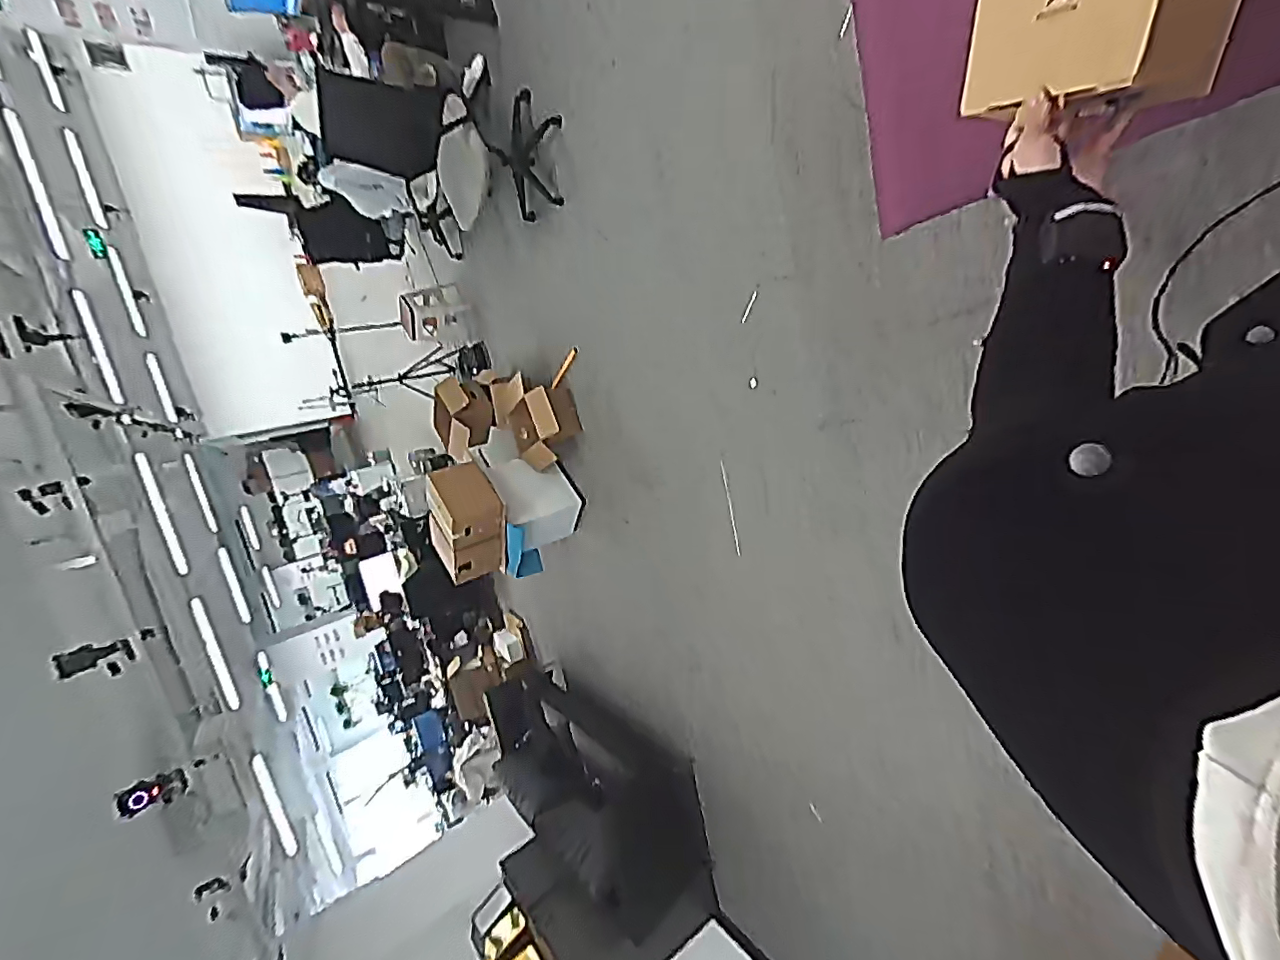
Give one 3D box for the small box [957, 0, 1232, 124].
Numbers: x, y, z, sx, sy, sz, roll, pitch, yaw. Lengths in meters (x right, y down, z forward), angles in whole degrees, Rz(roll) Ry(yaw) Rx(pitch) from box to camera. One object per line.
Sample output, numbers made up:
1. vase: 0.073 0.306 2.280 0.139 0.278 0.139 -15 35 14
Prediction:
1. small box: 0.469 -0.478 0.553 0.168 0.176 0.179 36 134 52
